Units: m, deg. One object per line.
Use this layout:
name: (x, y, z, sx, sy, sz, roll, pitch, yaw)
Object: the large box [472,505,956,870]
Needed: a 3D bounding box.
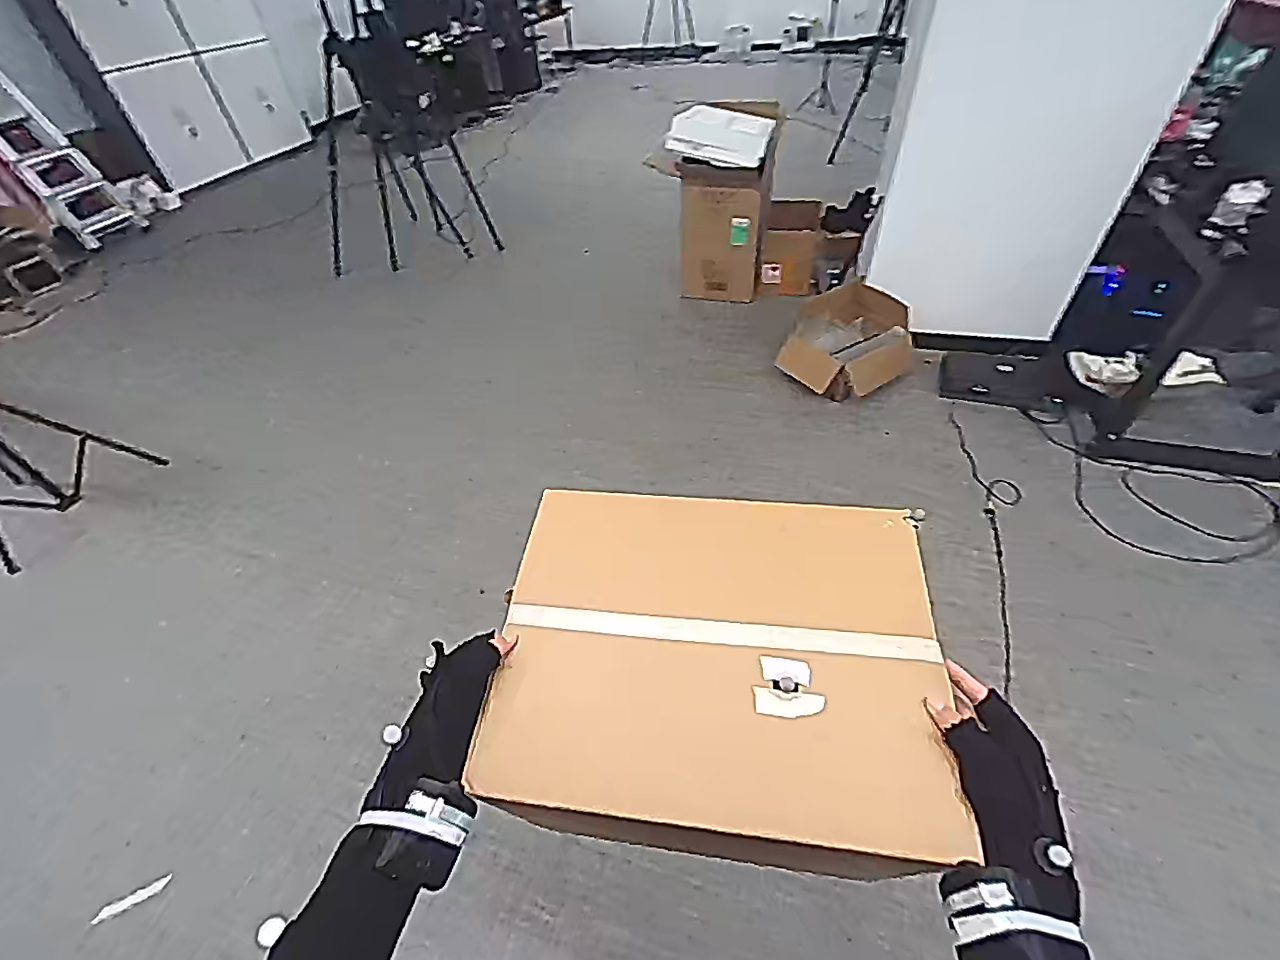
large box: (0.075, 0.248, 0.646, 0.408, 0.320, 0.320, 3, 53, 8)
